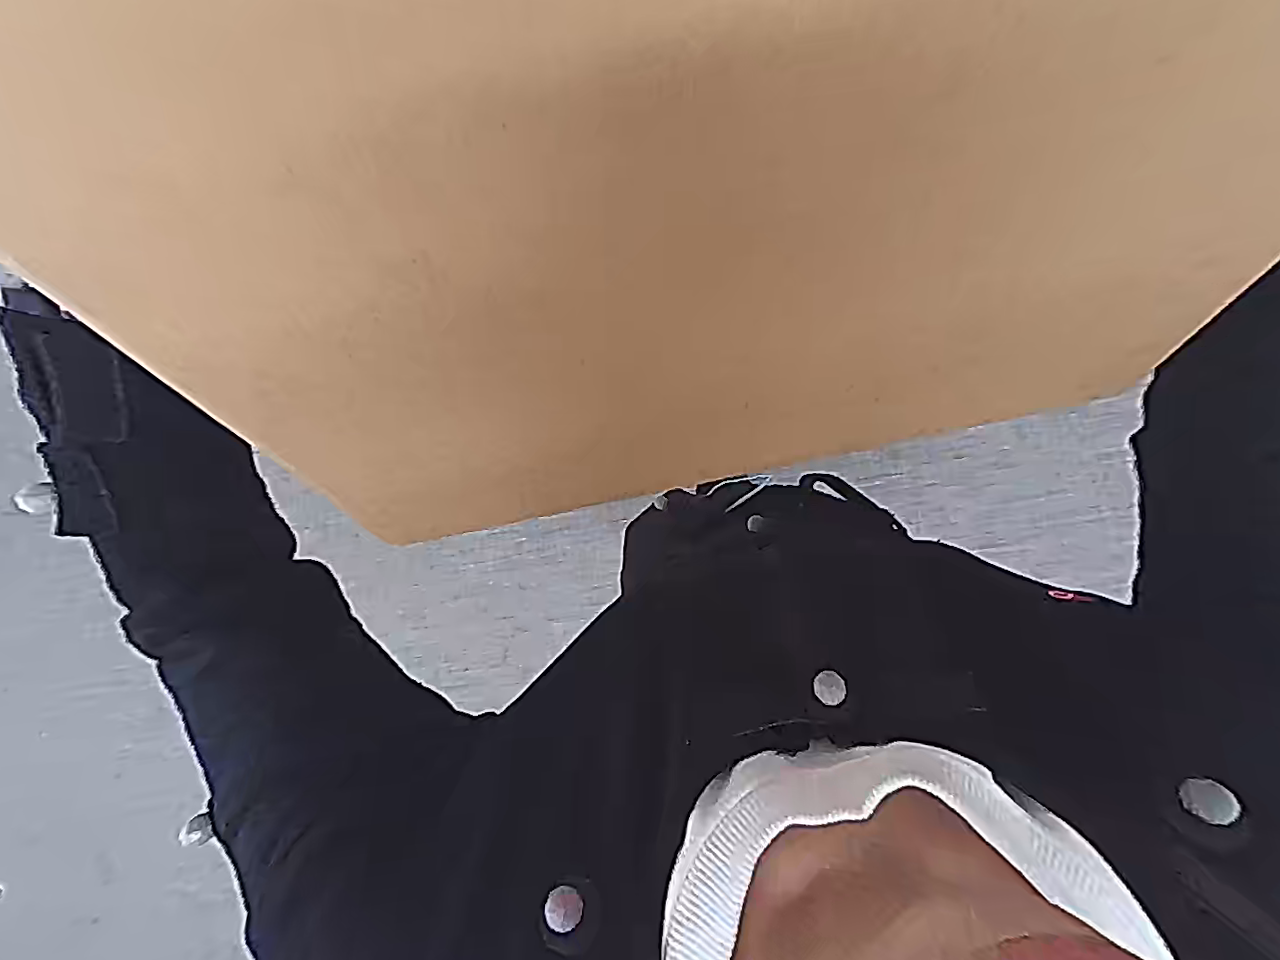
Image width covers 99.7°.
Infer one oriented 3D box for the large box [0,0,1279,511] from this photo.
[{"bbox_3d":[0.005,-0.219,0.247,0.408,0.320,0.320,-12,62,-1],"label":"large box"}]
